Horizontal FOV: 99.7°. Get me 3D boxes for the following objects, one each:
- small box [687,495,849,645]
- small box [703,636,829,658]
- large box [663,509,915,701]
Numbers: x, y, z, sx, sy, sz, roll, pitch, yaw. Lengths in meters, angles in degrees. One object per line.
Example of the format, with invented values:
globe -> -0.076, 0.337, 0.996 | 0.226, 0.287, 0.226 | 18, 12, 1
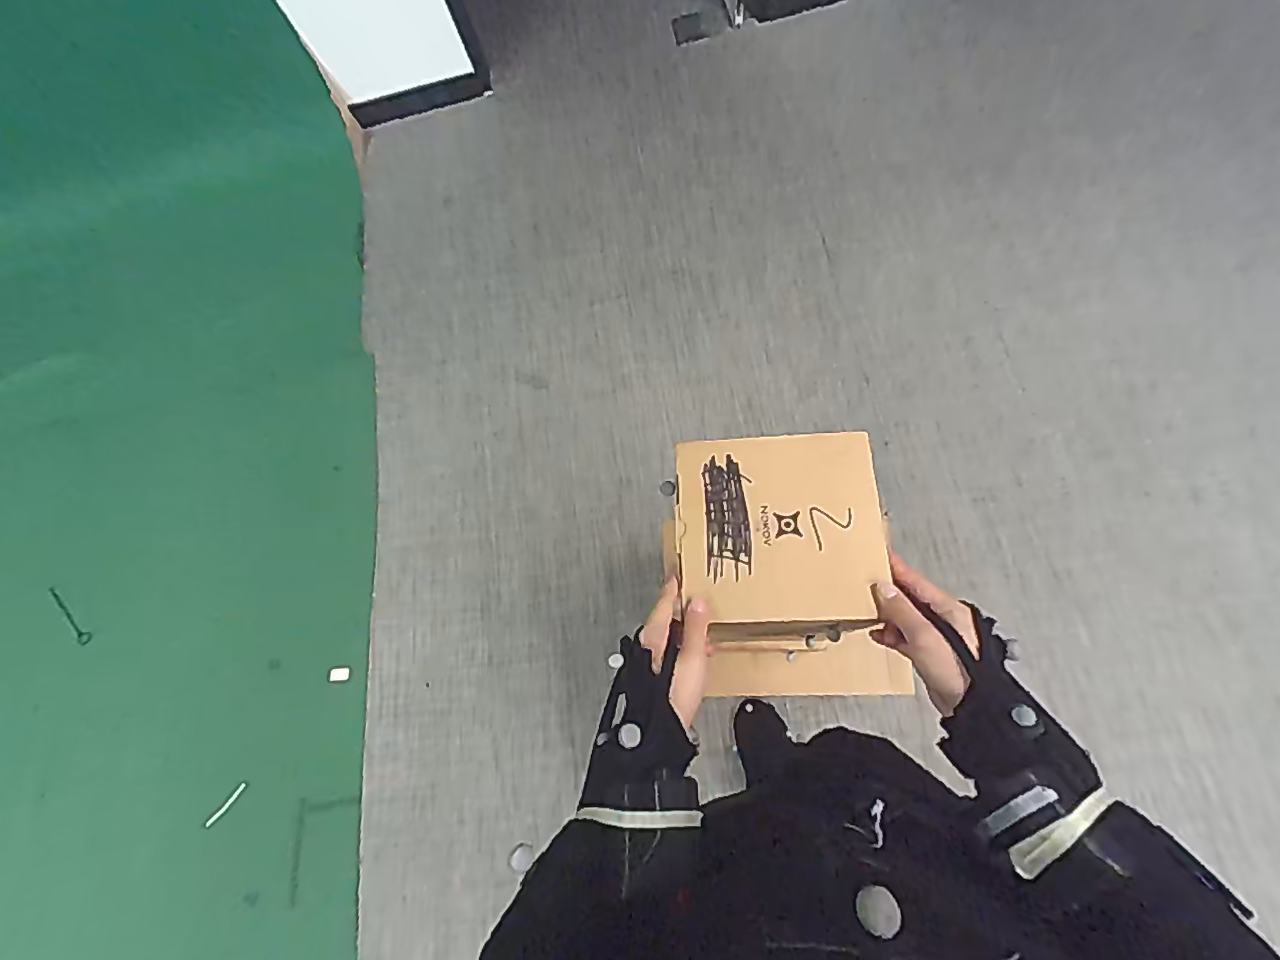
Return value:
small box -> 0.157, 0.126, 0.710 | 0.179, 0.176, 0.168 | -4, 70, 7
small box -> 0.187, 0.191, 0.857 | 0.179, 0.176, 0.168 | -3, 70, 8
large box -> 0.262, 0.259, 1.081 | 0.408, 0.320, 0.320 | -4, 72, 6
